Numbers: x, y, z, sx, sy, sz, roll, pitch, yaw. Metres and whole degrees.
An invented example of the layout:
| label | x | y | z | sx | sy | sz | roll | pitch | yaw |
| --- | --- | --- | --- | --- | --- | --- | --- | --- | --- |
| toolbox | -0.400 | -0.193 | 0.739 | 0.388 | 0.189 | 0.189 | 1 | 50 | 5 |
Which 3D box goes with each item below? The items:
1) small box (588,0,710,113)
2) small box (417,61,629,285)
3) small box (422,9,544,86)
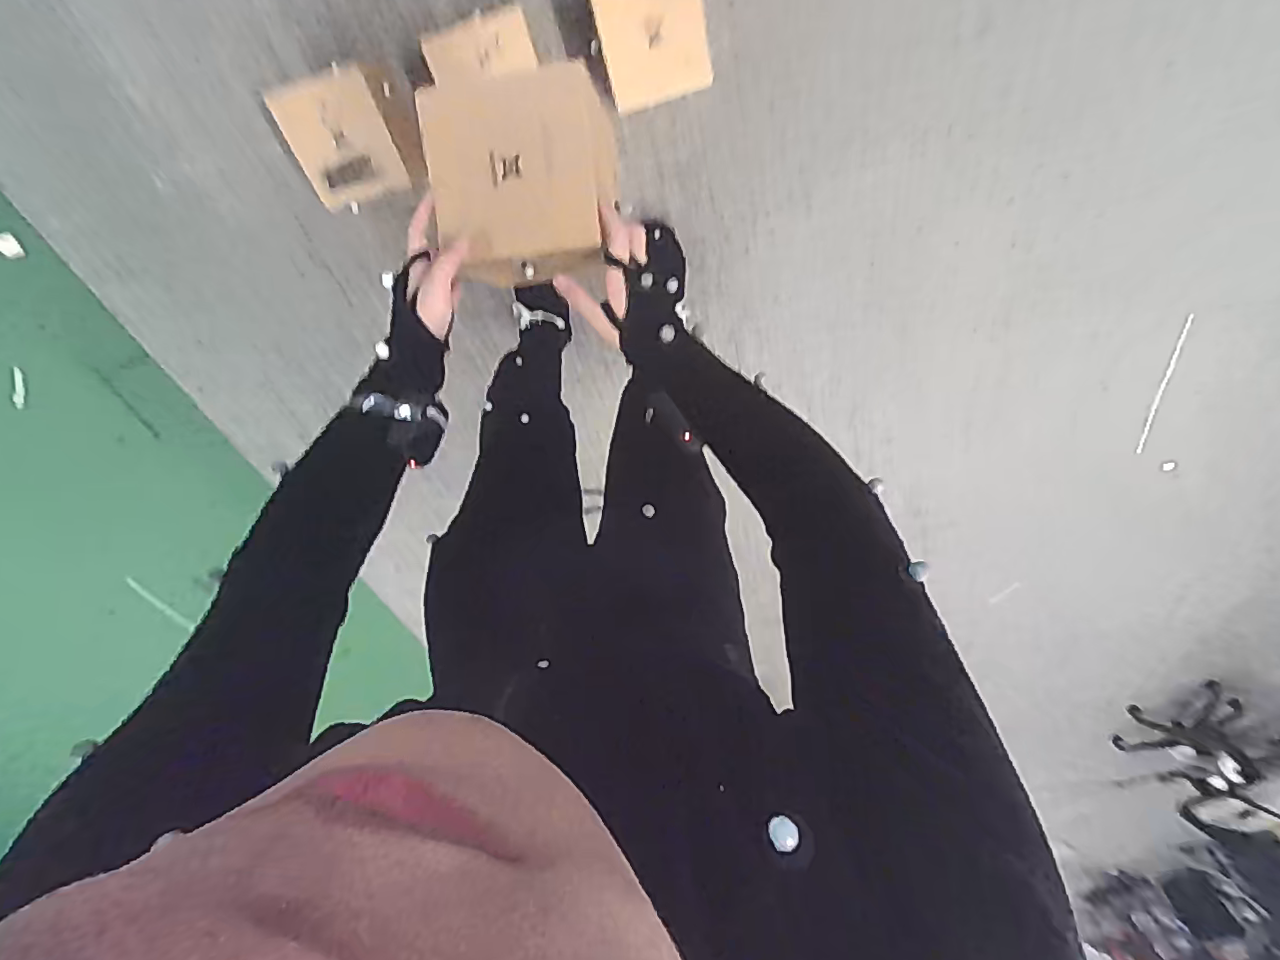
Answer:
| label | x | y | z | sx | sy | sz | roll | pitch | yaw |
| --- | --- | --- | --- | --- | --- | --- | --- | --- | --- |
| small box | 0.012 | -0.751 | 0.908 | 0.168 | 0.176 | 0.179 | -15 | 128 | 6 |
| small box | -0.117 | -0.323 | 0.610 | 0.179 | 0.176 | 0.168 | -3 | 102 | 9 |
| small box | -0.244 | -0.677 | 0.934 | 0.168 | 0.176 | 0.179 | -15 | 129 | 5 |
